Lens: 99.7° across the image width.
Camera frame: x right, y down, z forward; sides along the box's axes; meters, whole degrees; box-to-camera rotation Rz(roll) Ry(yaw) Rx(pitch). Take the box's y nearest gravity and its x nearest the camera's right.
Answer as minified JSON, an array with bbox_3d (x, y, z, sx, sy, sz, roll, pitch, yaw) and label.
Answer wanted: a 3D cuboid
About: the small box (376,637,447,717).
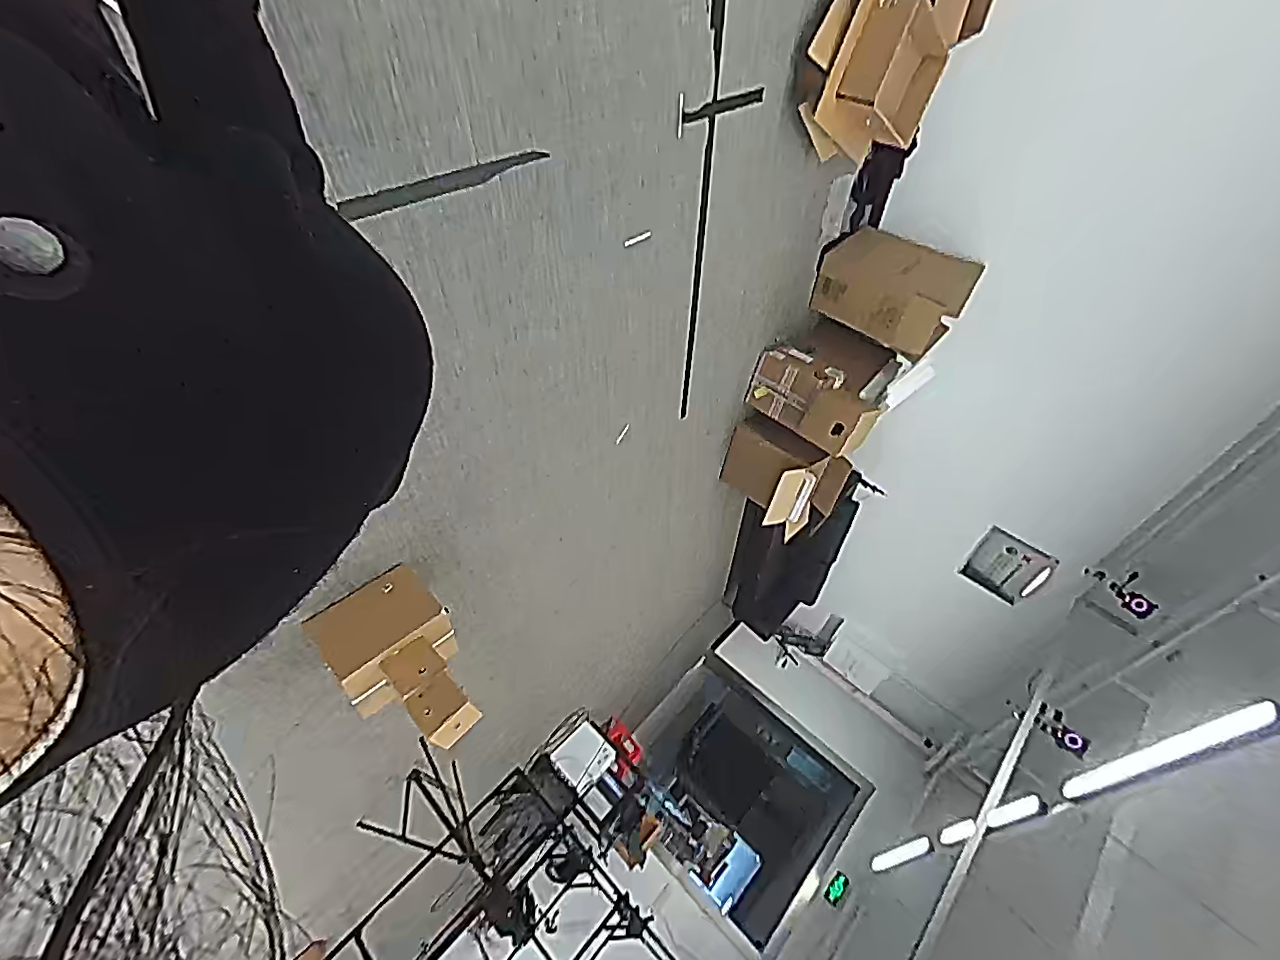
[{"bbox_3d":[-0.821,0.708,1.960,0.179,0.176,0.168,-32,145,-36],"label":"small box"}]

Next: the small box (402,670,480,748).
[{"bbox_3d":[-0.700,0.800,1.900,0.168,0.176,0.179,-41,151,-23],"label":"small box"}]
